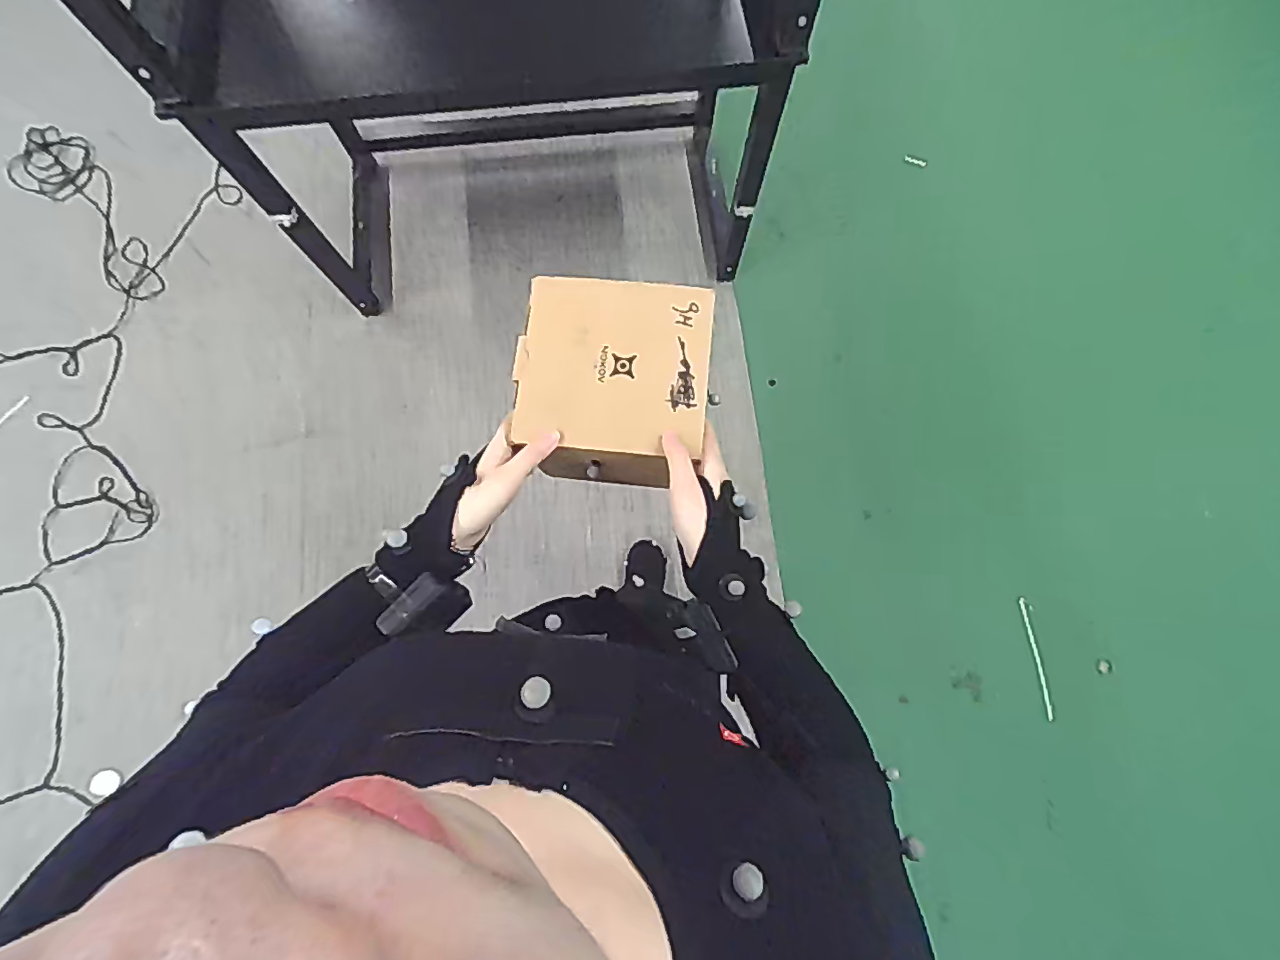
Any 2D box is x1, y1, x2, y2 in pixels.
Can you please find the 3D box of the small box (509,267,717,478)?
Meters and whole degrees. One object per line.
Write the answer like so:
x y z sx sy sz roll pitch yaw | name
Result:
-0.018 -0.101 0.570 0.179 0.176 0.168 6 81 4 | small box
